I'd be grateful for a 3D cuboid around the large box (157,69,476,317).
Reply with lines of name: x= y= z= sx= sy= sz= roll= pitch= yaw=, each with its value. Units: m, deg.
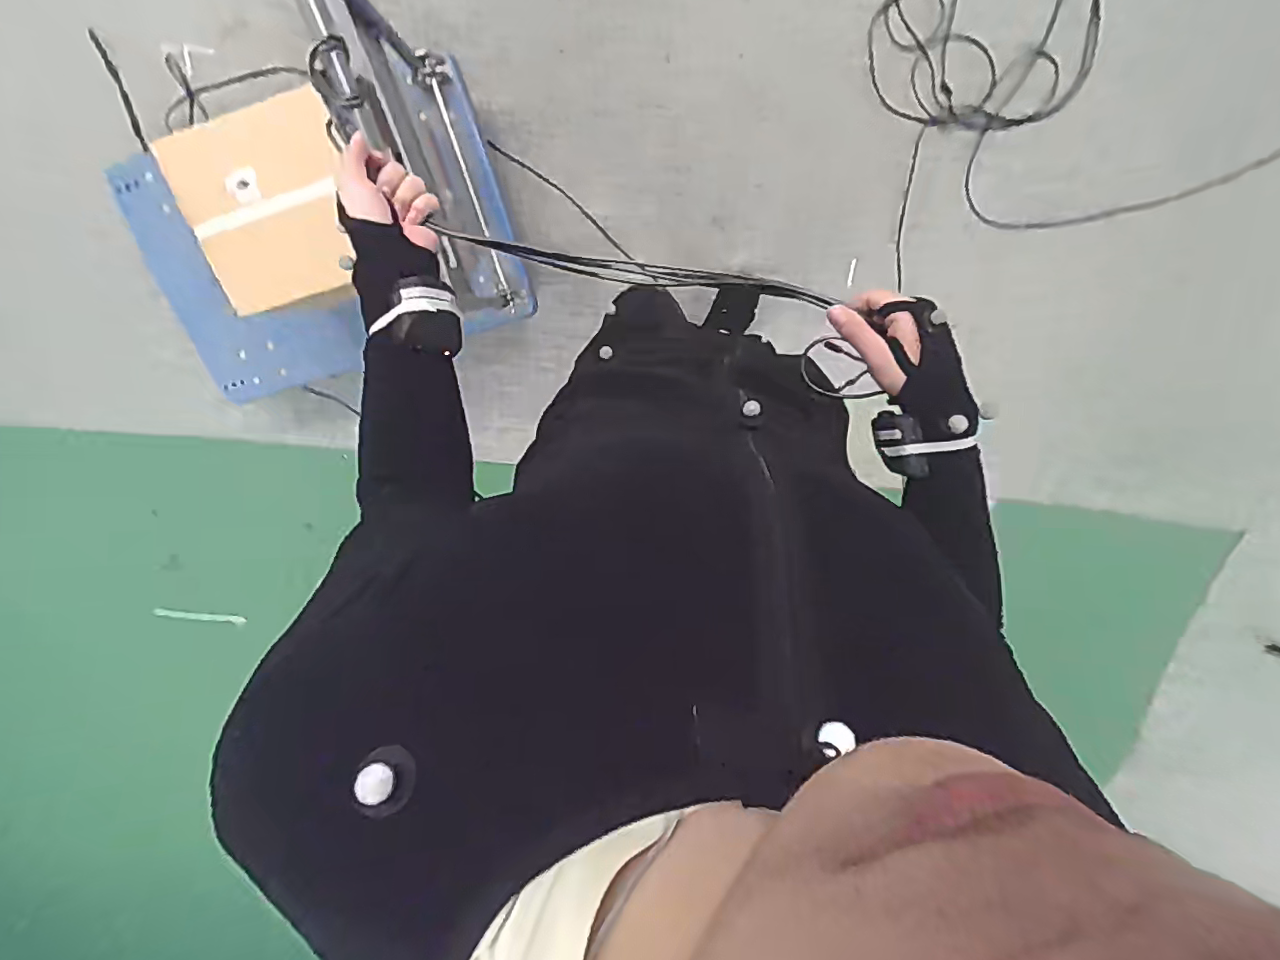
large box: x=-0.621 y=-0.557 z=1.119 sx=0.408 sy=0.320 sz=0.320 roll=-14 pitch=108 yaw=7
